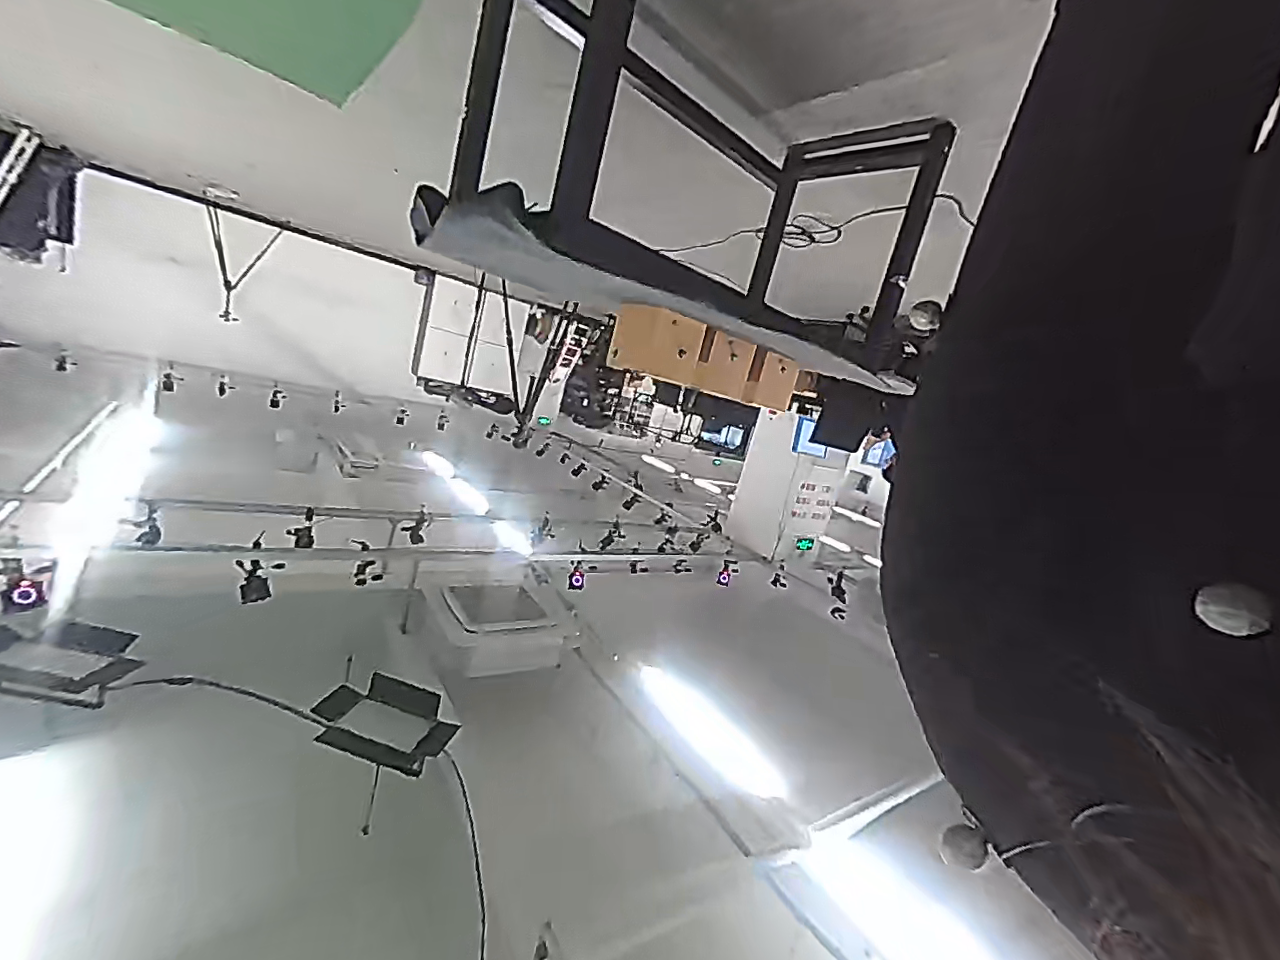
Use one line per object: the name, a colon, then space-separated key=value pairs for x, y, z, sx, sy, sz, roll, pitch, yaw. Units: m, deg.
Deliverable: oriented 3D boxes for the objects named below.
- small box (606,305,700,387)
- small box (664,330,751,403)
small box: x=0.038 y=-0.351 z=1.411 sx=0.168 sy=0.176 sz=0.179 roll=7 pitch=-166 yaw=-38
small box: x=0.195 y=-0.337 z=1.571 sx=0.168 sy=0.176 sz=0.179 roll=7 pitch=-167 yaw=-37
